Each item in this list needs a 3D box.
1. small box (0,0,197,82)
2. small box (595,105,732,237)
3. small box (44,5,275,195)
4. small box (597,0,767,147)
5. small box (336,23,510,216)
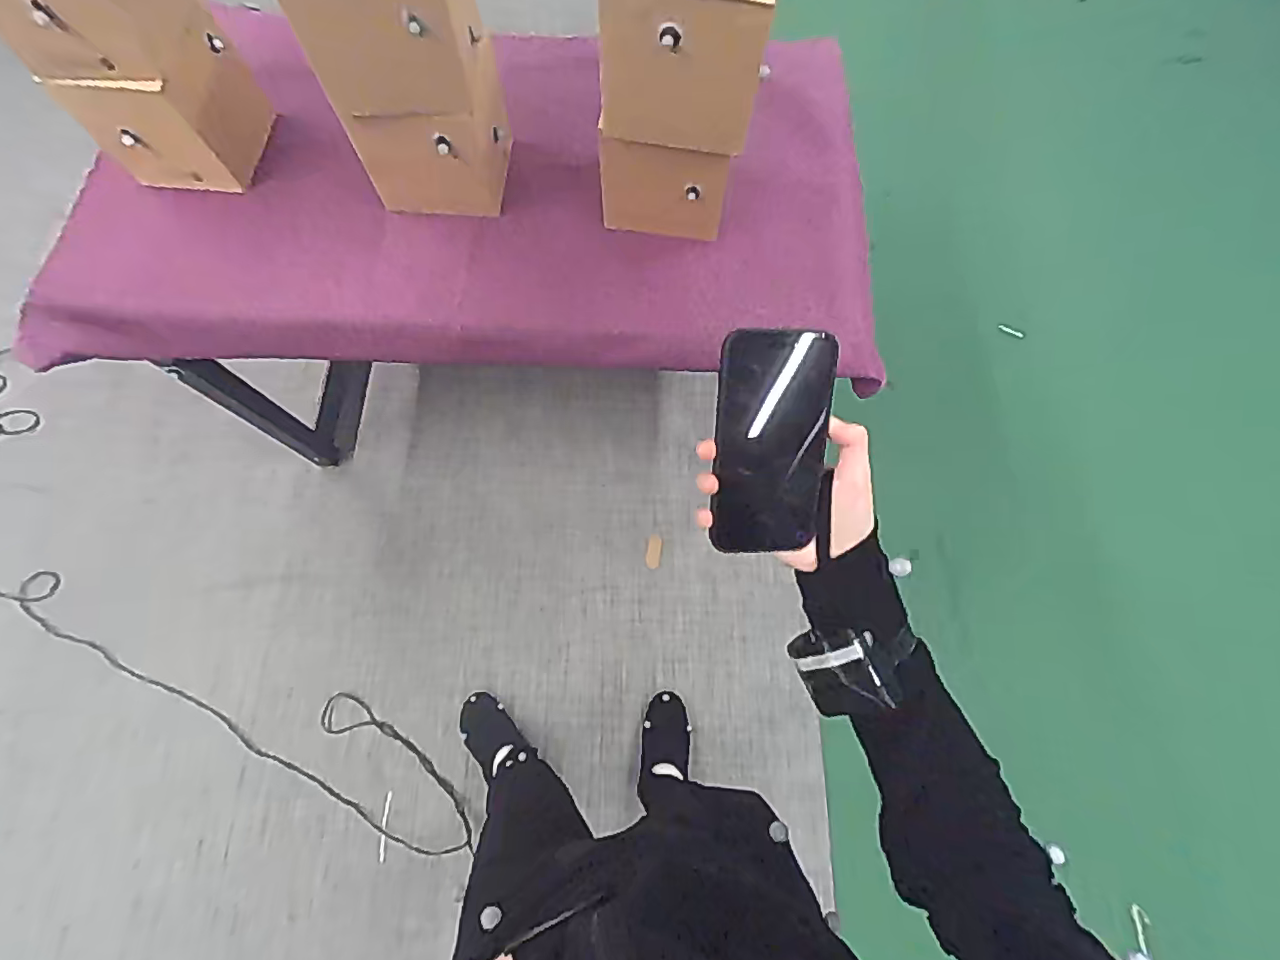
[{"bbox_3d":[-0.685,-0.615,0.647,0.168,0.176,0.179,-1,72,-1],"label":"small box"},{"bbox_3d":[0.042,-0.480,0.780,0.179,0.176,0.168,9,71,4],"label":"small box"},{"bbox_3d":[-0.686,-0.554,0.800,0.168,0.176,0.179,4,71,1],"label":"small box"},{"bbox_3d":[0.050,-0.519,0.620,0.179,0.176,0.168,9,71,2],"label":"small box"},{"bbox_3d":[-0.298,-0.513,0.787,0.179,0.176,0.168,3,71,1],"label":"small box"}]
